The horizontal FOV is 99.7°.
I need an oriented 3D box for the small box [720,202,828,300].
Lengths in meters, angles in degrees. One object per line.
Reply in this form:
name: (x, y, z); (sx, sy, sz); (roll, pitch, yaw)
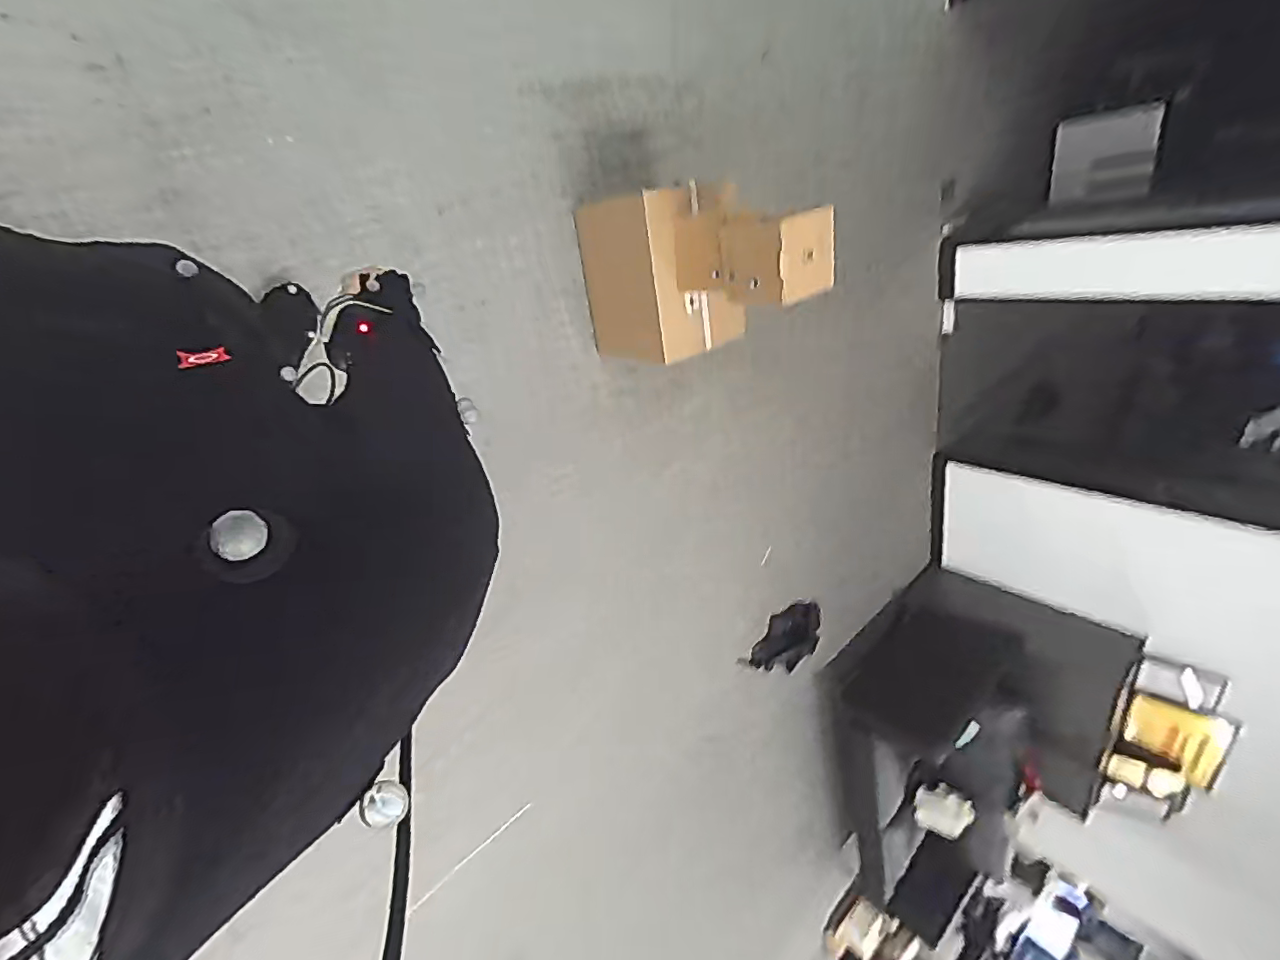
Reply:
small box: (0.288, -0.496, 1.178); (0.179, 0.176, 0.168); (-30, 124, -31)

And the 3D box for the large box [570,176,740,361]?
large box: (0.047, -0.581, 1.492); (0.320, 0.320, 0.408); (-26, 122, -30)

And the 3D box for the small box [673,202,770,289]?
small box: (0.192, -0.557, 1.294); (0.168, 0.176, 0.179); (-21, 118, -34)
